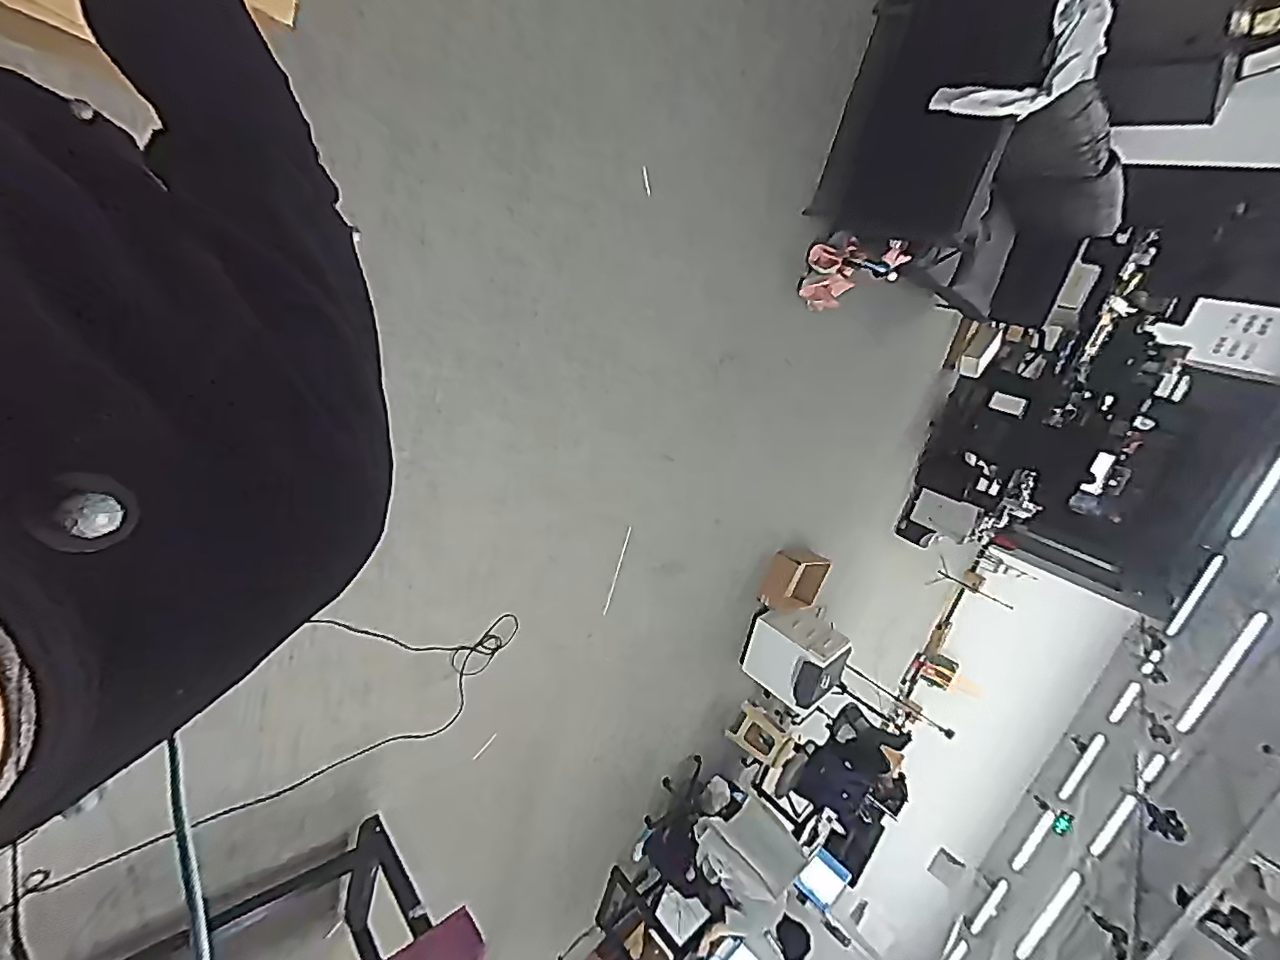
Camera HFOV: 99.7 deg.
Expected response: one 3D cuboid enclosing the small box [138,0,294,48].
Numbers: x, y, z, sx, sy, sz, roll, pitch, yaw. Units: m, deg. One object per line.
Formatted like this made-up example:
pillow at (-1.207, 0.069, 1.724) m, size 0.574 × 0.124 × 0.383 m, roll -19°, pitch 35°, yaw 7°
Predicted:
small box at (-0.430, -0.537, 0.495) m, size 0.179 × 0.176 × 0.168 m, roll 5°, pitch 109°, yaw -49°
